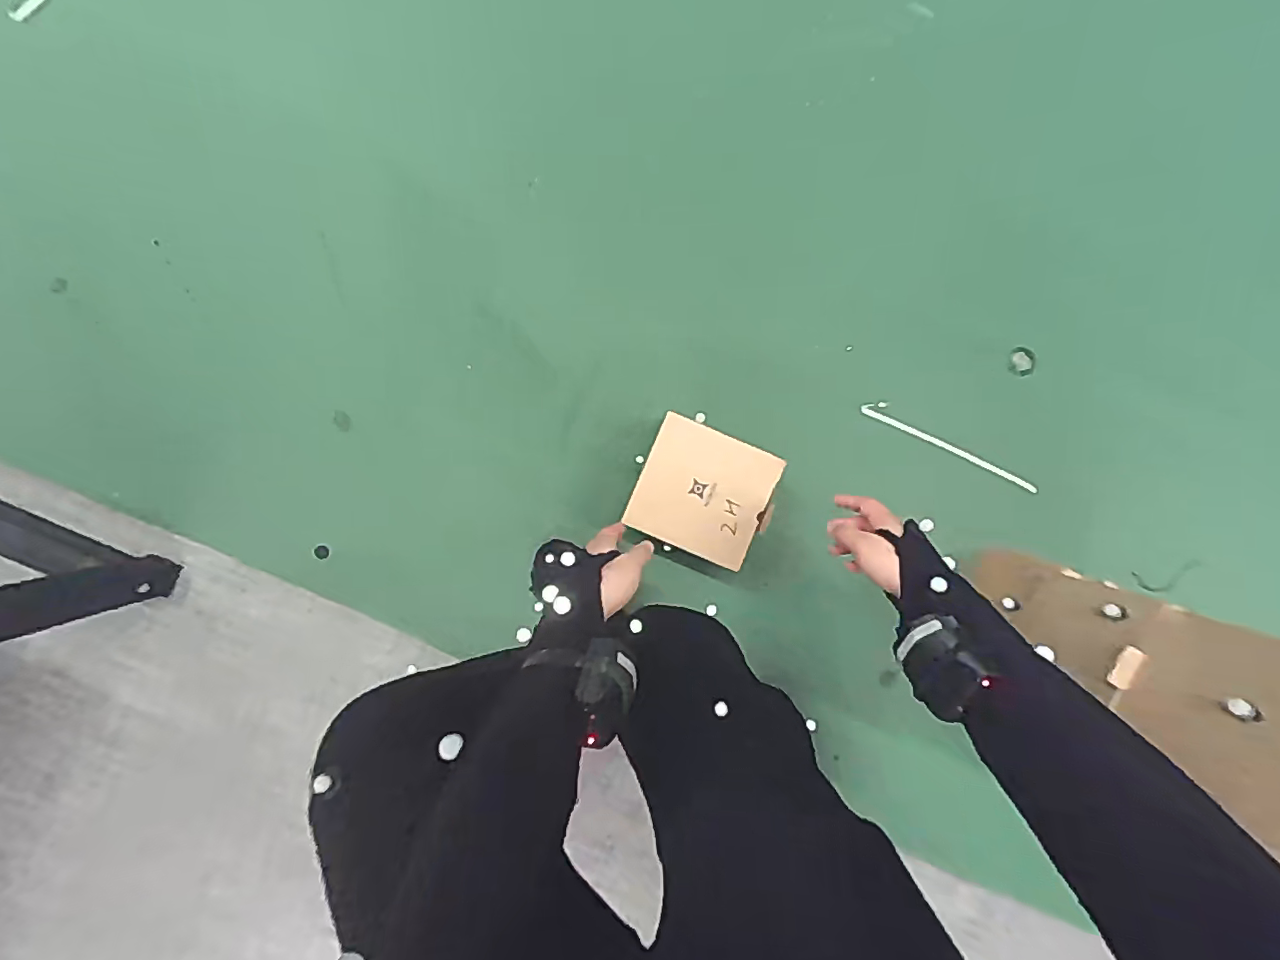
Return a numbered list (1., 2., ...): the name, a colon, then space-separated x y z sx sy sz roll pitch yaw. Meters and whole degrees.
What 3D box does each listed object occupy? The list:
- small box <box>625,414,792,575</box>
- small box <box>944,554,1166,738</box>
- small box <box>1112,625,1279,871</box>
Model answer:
1. small box: 0.091 0.017 0.796 0.179 0.176 0.168 24 93 -1
2. small box: 0.599 0.235 0.811 0.168 0.176 0.179 32 92 -2
3. small box: 0.590 0.256 0.483 0.168 0.176 0.179 28 91 -3
